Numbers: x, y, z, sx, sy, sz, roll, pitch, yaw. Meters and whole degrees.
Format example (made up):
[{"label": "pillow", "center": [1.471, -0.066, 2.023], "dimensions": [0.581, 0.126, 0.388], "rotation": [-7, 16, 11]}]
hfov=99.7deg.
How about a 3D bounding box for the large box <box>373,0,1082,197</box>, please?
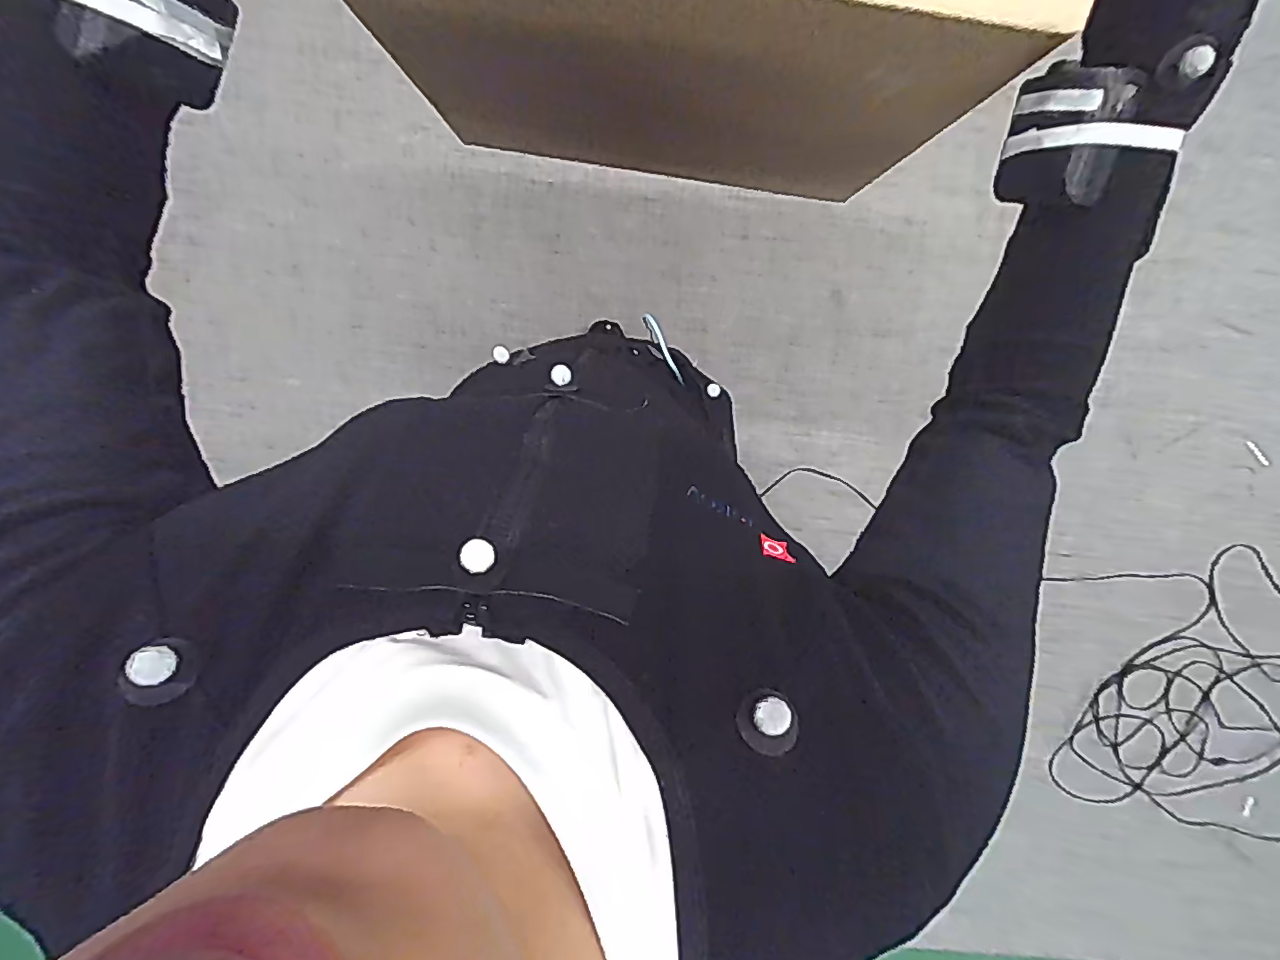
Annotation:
[{"label": "large box", "center": [0.044, -0.433, 0.388], "dimensions": [0.408, 0.320, 0.320], "rotation": [7, 103, -3]}]
